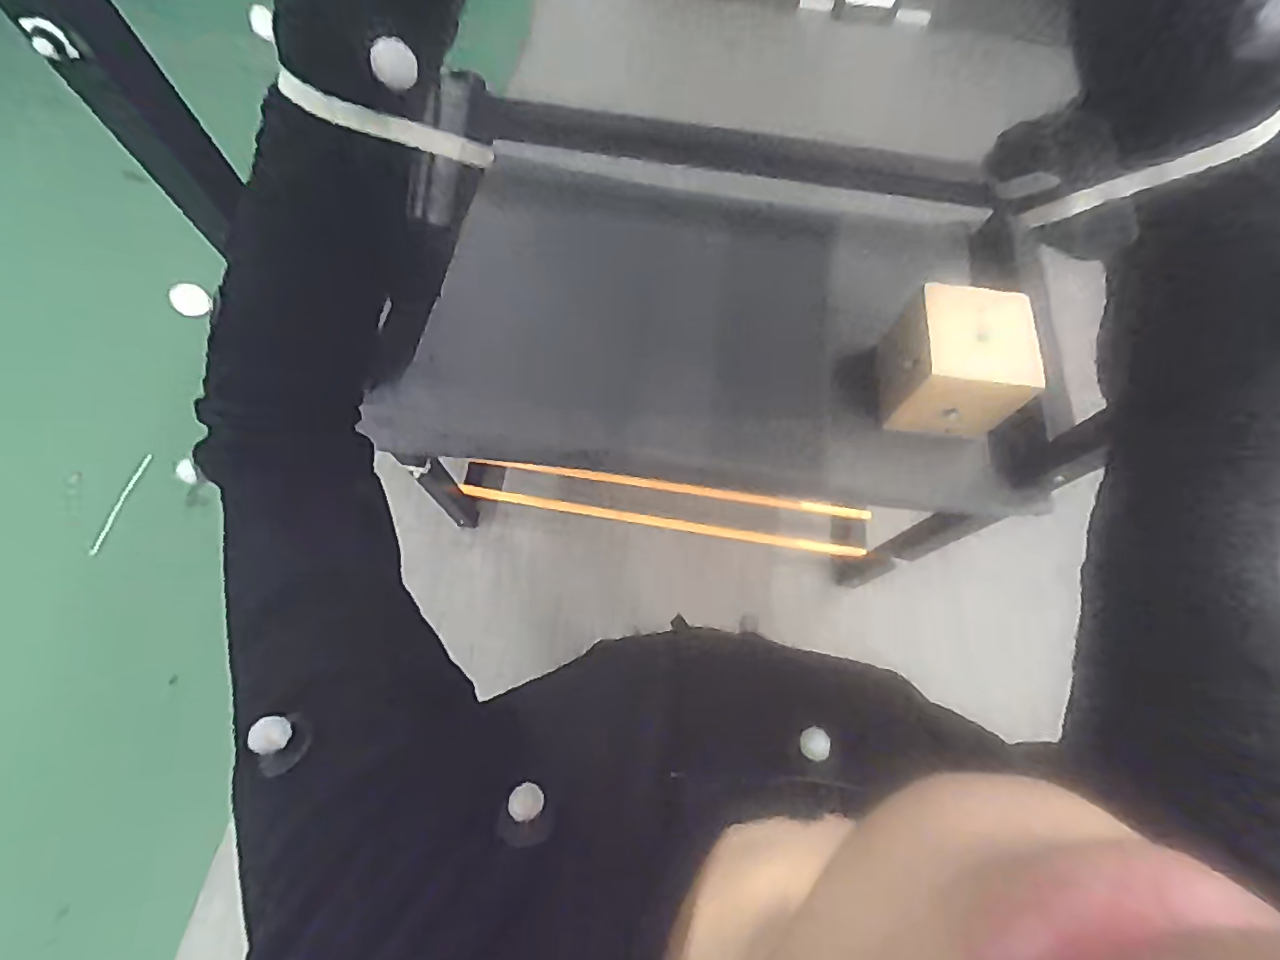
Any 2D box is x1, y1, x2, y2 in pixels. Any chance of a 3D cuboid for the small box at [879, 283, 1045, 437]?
[{"bbox_3d":[0.508,-0.188,0.880,0.168,0.176,0.179,7,67,1],"label":"small box"}]
